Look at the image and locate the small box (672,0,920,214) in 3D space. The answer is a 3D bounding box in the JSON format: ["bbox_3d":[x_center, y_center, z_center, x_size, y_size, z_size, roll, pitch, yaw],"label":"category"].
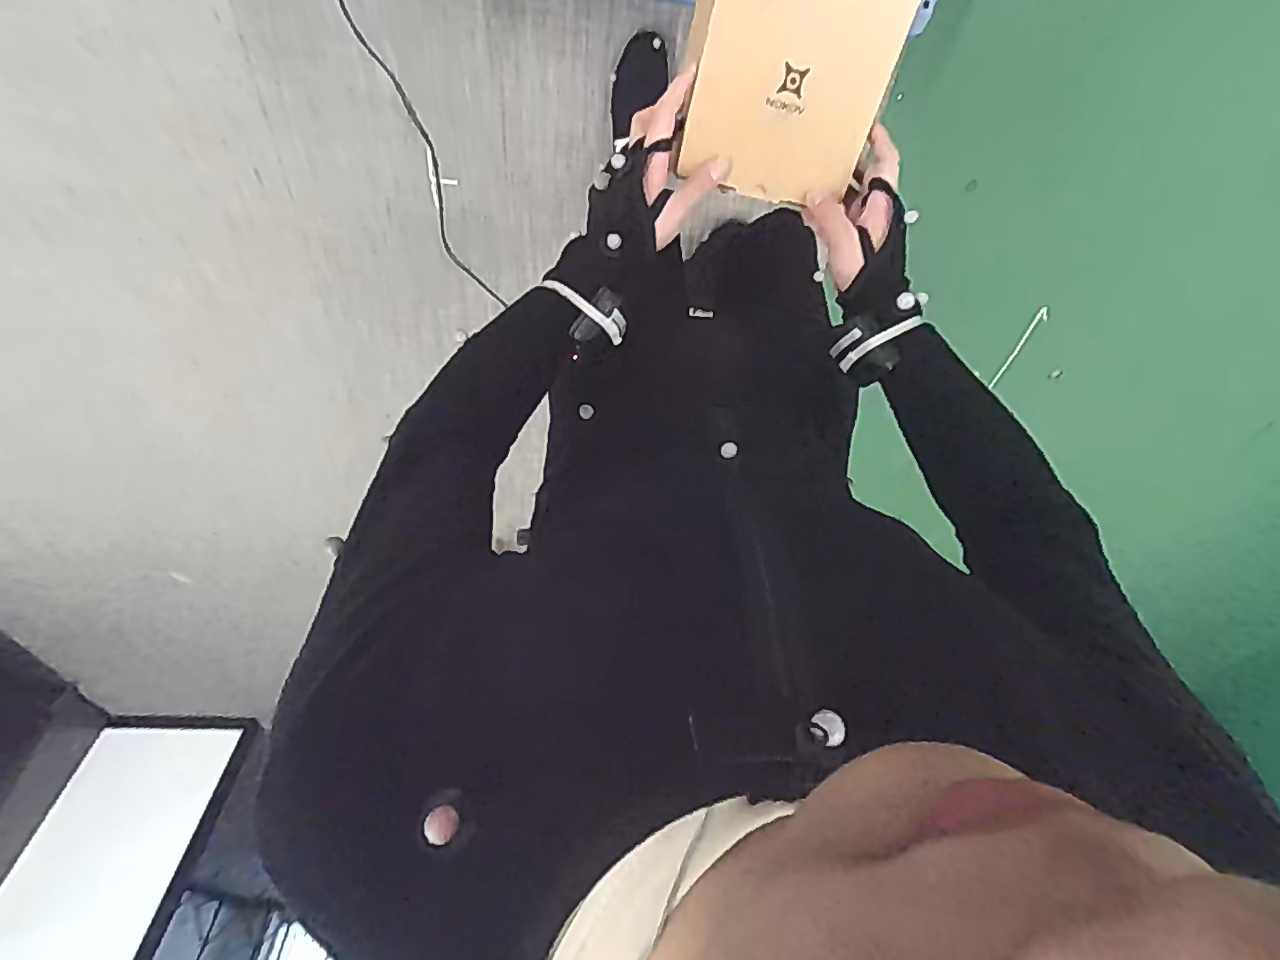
[{"bbox_3d":[0.132,-0.390,0.538,0.168,0.176,0.179,9,125,-8],"label":"small box"}]
